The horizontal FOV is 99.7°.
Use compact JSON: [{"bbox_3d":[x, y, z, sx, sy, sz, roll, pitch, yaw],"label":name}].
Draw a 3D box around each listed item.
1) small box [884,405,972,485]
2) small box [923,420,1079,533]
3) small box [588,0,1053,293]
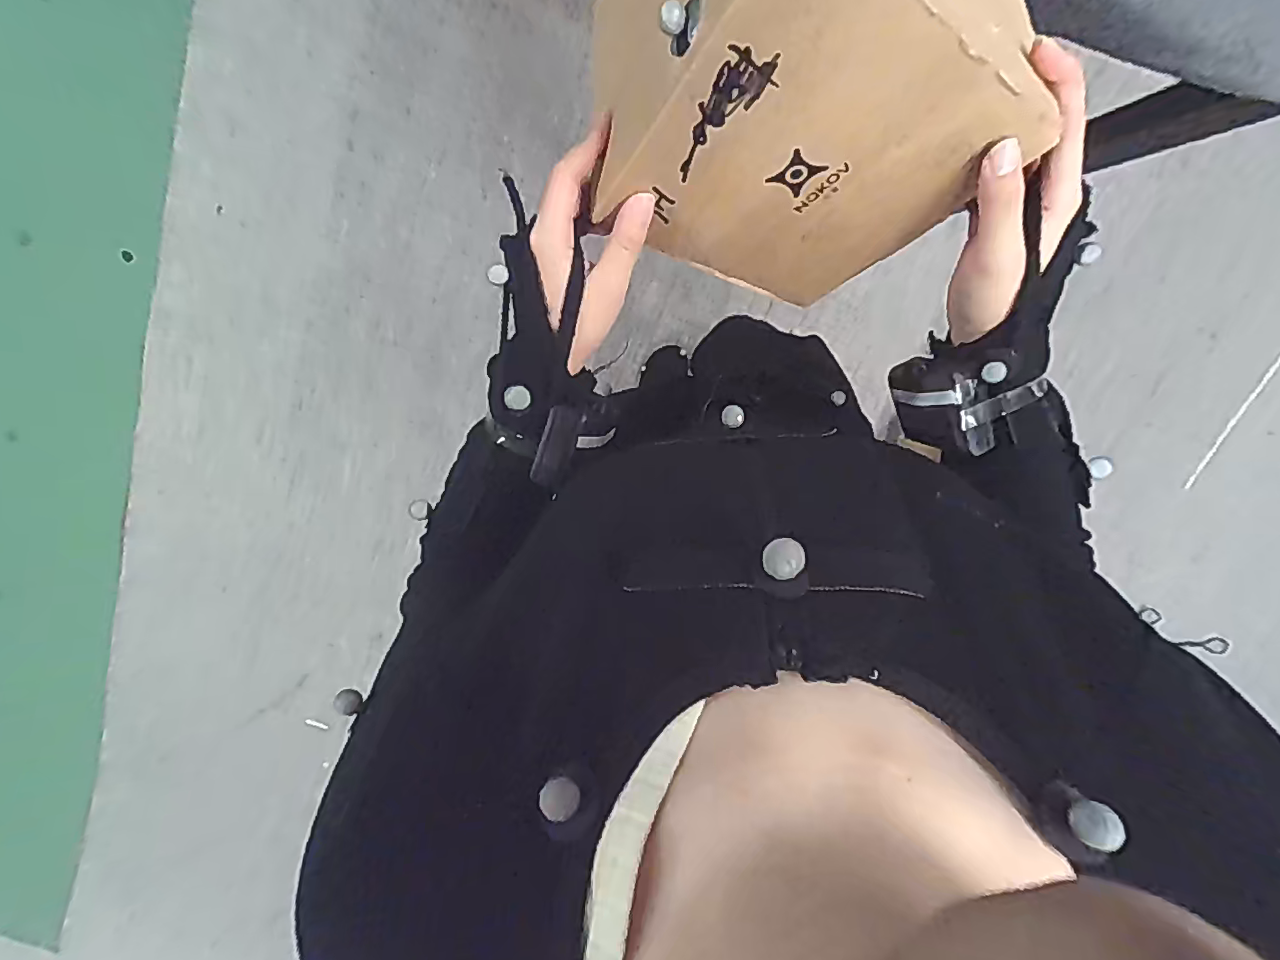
[{"bbox_3d":[0.718,-0.069,1.273,0.179,0.176,0.168,17,106,-5],"label":"small box"},{"bbox_3d":[0.730,-0.015,1.118,0.179,0.176,0.168,17,107,-7],"label":"small box"},{"bbox_3d":[0.083,-0.241,0.301,0.179,0.168,0.176,8,71,-30],"label":"small box"}]
